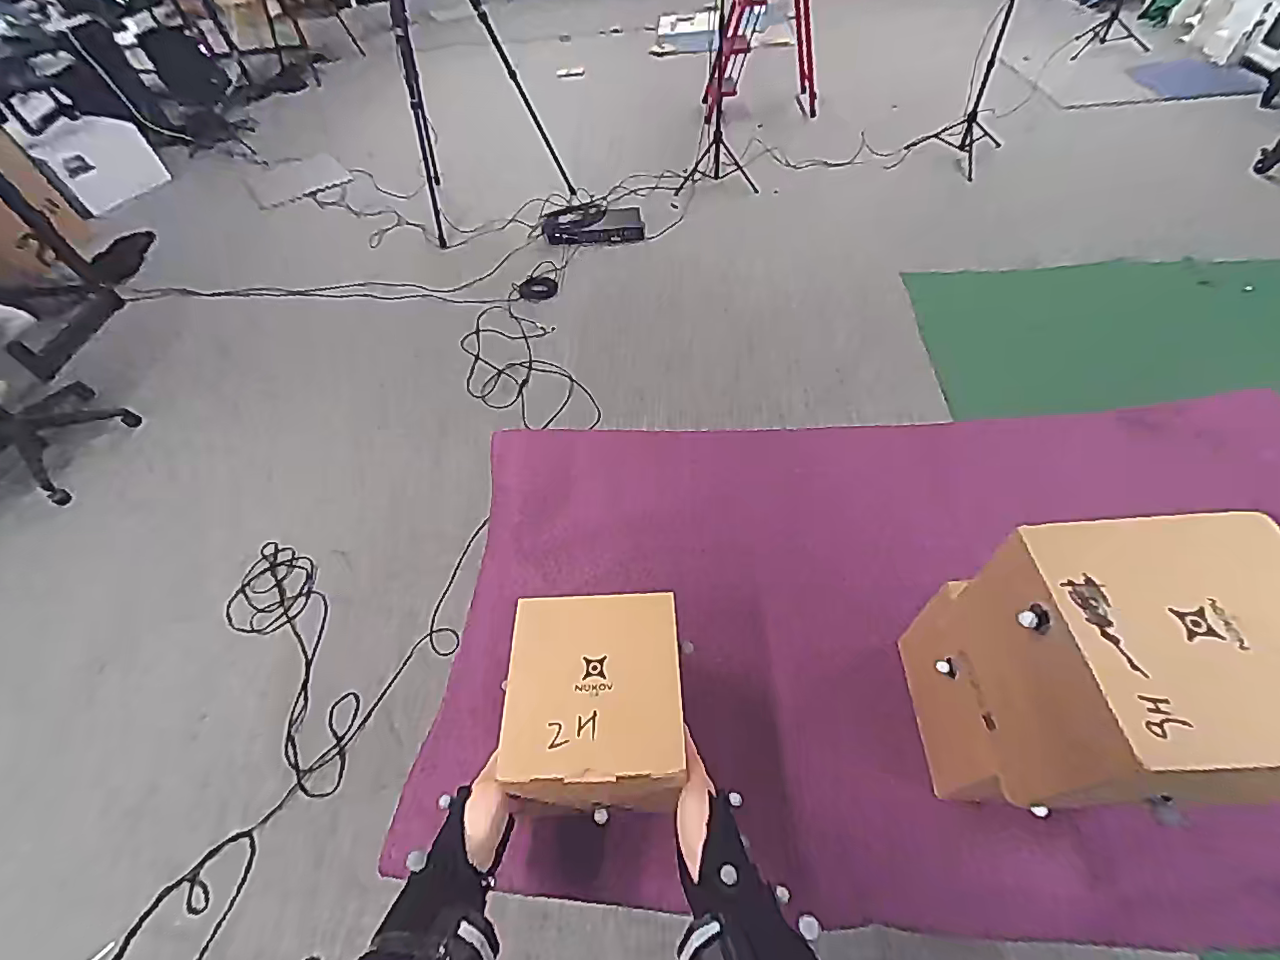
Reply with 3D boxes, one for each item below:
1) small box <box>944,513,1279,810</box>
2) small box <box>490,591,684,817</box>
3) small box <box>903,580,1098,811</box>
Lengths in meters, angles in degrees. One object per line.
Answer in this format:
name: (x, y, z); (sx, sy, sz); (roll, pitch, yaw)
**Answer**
small box: (0.368, 0.140, 0.404); (0.179, 0.176, 0.168); (-3, 52, 3)
small box: (-0.043, 0.234, 0.564); (0.168, 0.176, 0.179); (-3, 50, 1)
small box: (0.390, 0.219, 0.549); (0.168, 0.176, 0.179); (-1, 52, 6)
